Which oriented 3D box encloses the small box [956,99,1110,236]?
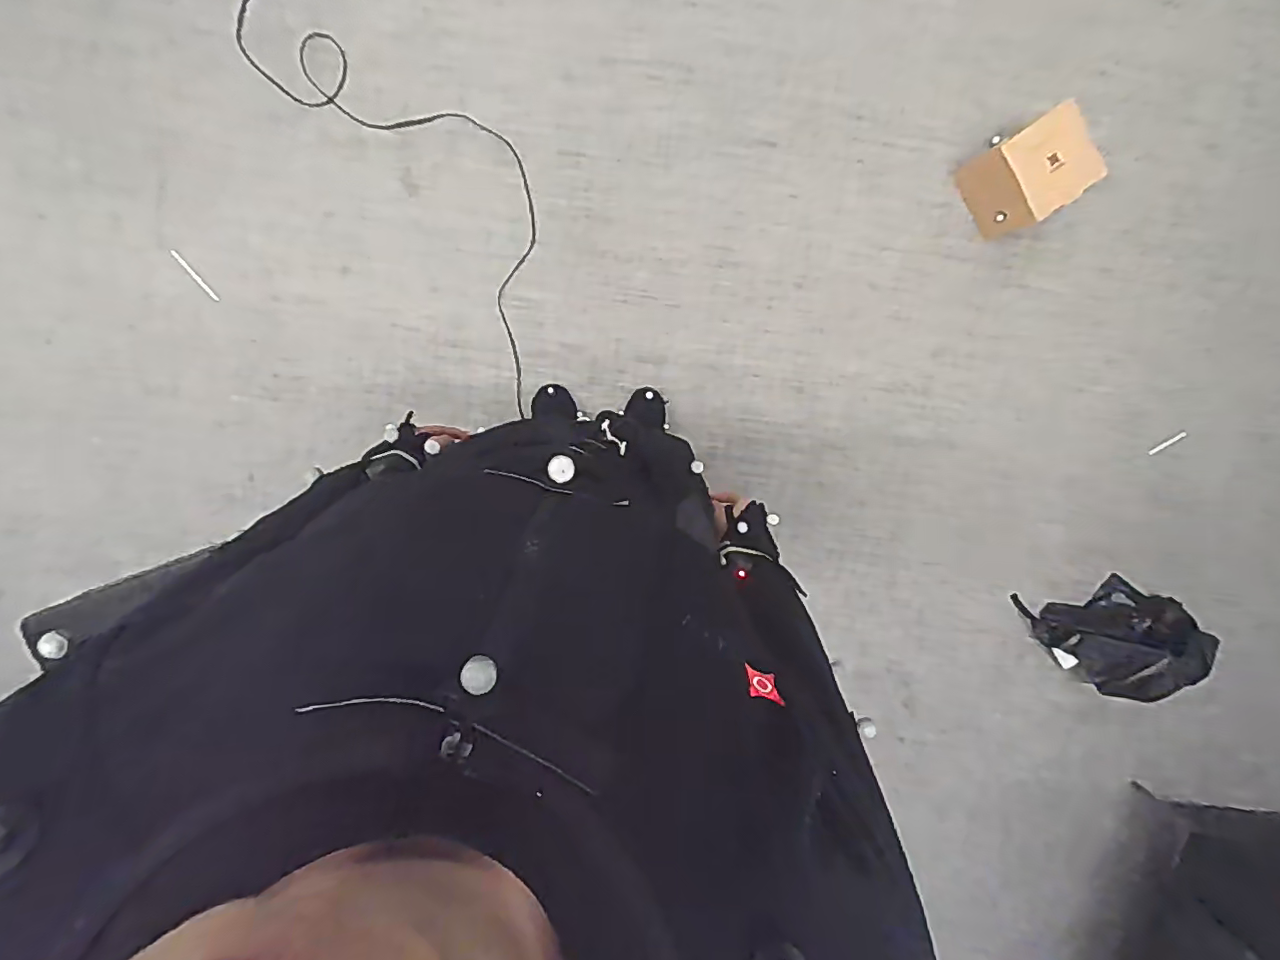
[{"bbox_3d":[0.831,-0.651,1.158,0.168,0.176,0.179,-35,99,5],"label":"small box"}]
